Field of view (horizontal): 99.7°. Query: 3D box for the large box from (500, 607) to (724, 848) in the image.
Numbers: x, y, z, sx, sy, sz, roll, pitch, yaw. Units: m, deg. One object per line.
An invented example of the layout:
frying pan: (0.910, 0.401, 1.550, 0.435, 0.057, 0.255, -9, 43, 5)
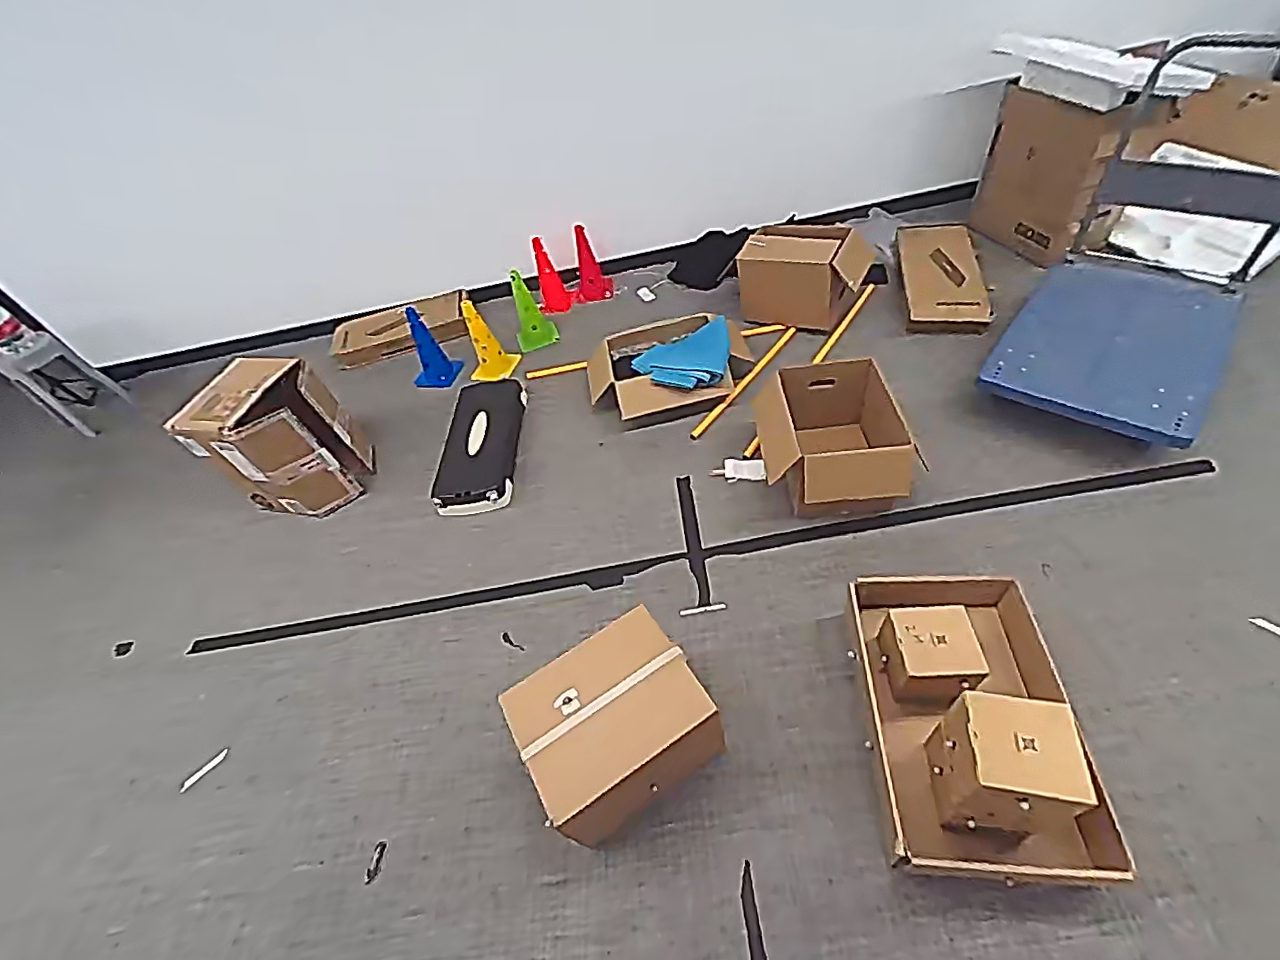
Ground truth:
large box: (-0.052, 0.591, 1.301, 0.408, 0.320, 0.320, -31, 50, -13)
